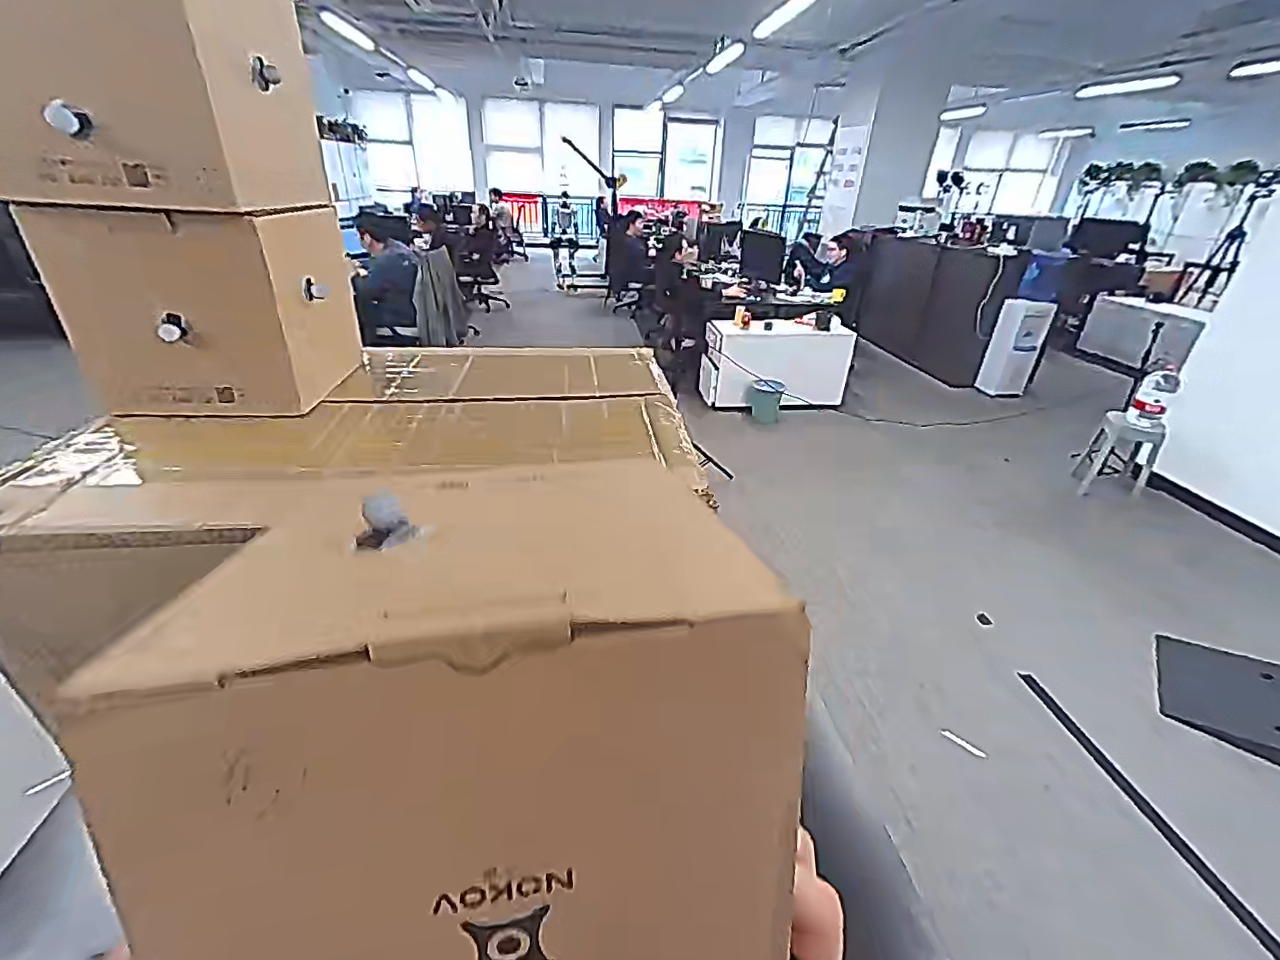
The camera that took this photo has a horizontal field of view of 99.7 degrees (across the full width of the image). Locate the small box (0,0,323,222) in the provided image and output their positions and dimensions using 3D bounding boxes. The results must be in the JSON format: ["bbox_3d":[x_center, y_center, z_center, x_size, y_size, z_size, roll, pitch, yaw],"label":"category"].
[{"bbox_3d":[-0.375,-0.305,0.423,0.168,0.176,0.179,-1,29,-7],"label":"small box"}]

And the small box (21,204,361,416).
[{"bbox_3d":[-0.388,-0.167,0.516,0.168,0.176,0.179,-1,29,-8],"label":"small box"}]

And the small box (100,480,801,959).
[{"bbox_3d":[-0.051,0.101,0.226,0.168,0.179,0.176,-4,15,-10],"label":"small box"}]
